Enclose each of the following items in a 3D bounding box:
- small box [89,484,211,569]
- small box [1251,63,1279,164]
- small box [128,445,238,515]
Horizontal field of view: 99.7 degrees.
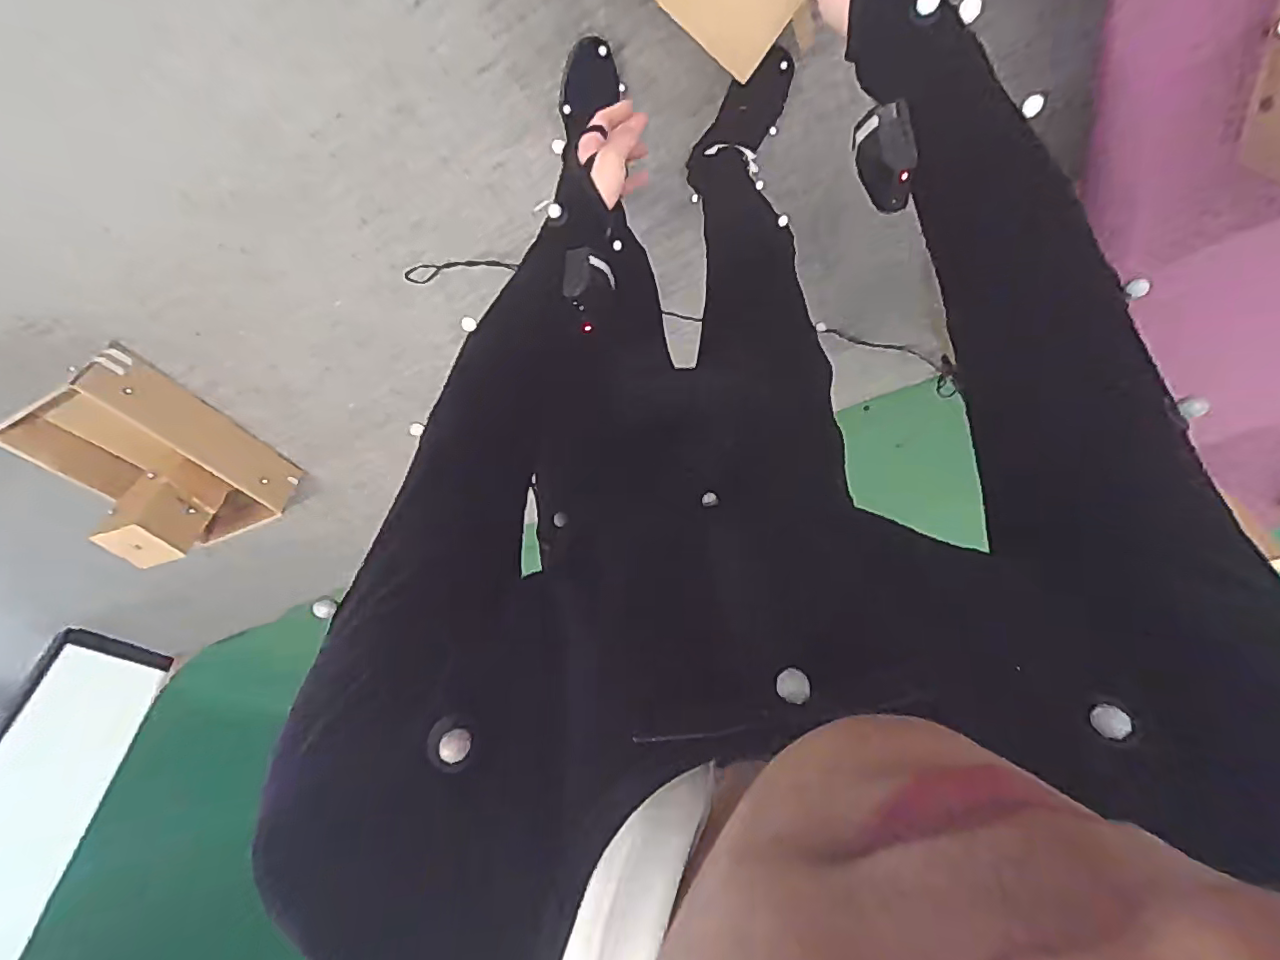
[{"bbox_3d":[-1.436,0.136,1.600,0.179,0.176,0.168,-14,135,11],"label":"small box"},{"bbox_3d":[0.644,-0.340,0.407,0.179,0.176,0.168,-23,136,19],"label":"small box"},{"bbox_3d":[-1.436,0.017,1.713,0.179,0.176,0.168,-17,134,13],"label":"small box"}]
